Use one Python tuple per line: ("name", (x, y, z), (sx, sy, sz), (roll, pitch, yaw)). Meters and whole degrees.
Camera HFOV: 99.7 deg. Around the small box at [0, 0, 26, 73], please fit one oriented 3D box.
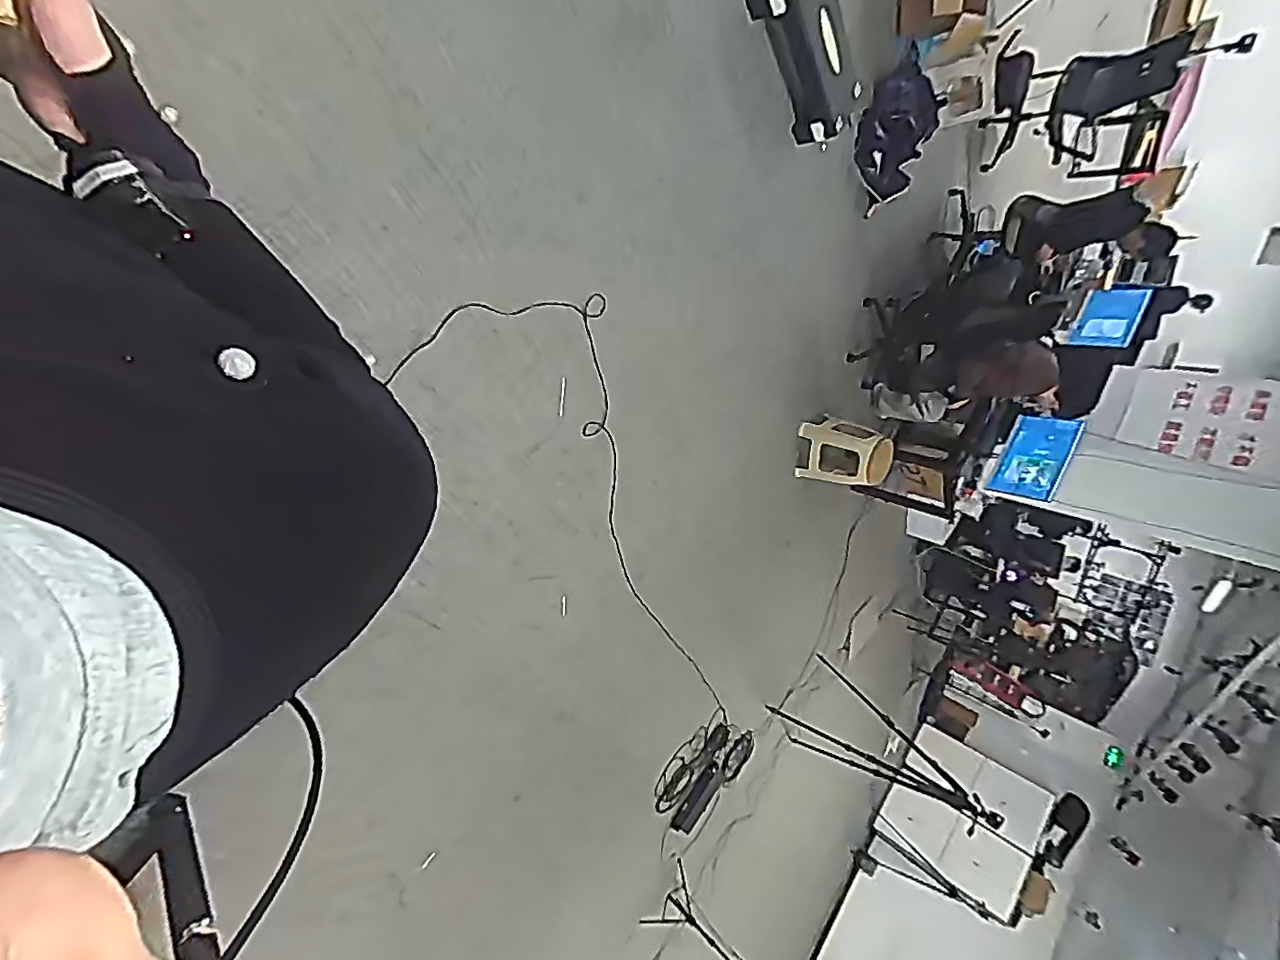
("small box", (-0.446, -0.325, 0.260), (0.179, 0.176, 0.168), (-14, 117, -44))
